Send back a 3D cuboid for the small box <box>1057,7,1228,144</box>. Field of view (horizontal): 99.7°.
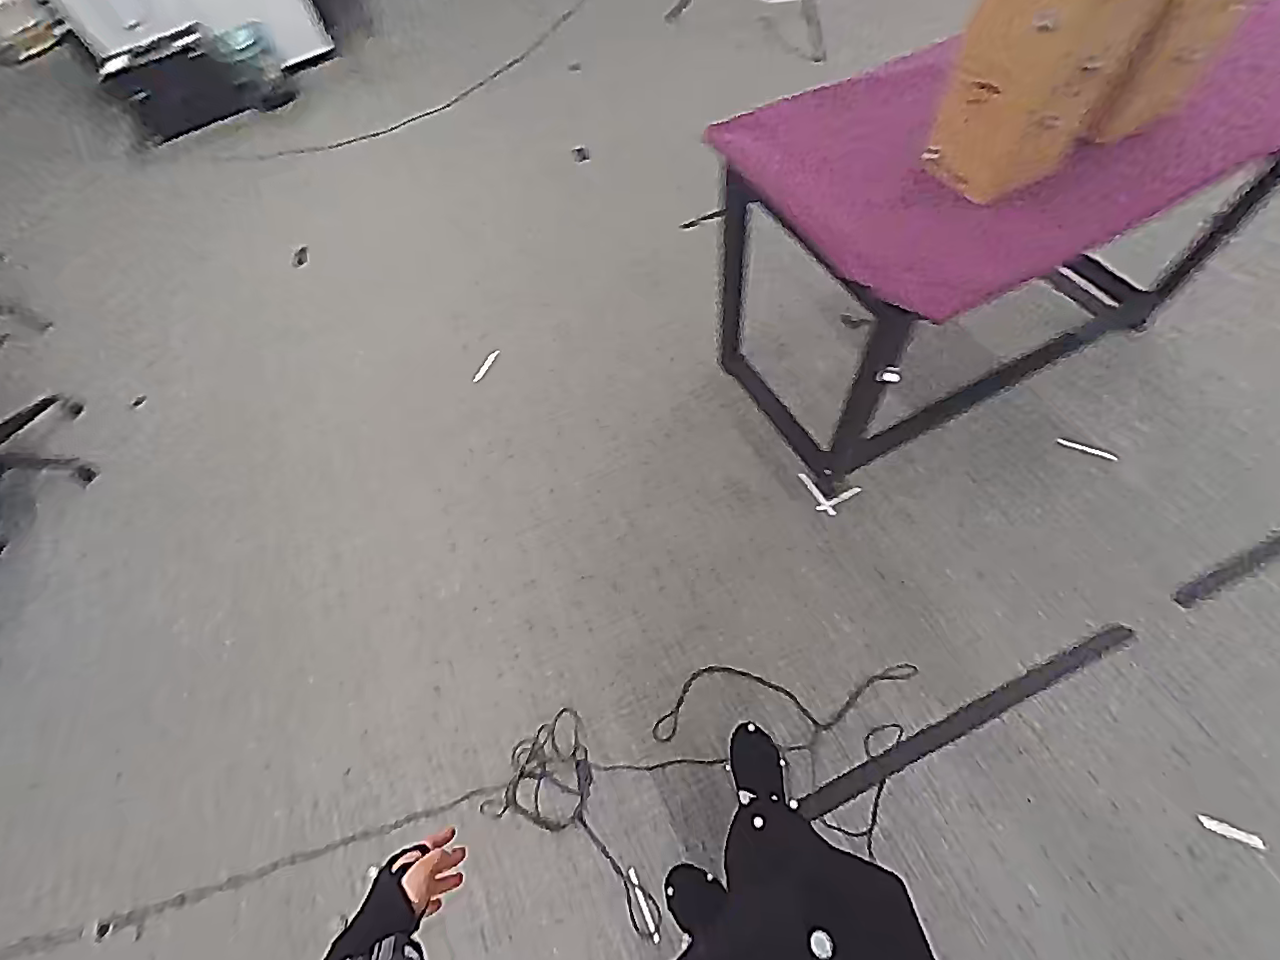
[{"bbox_3d":[0.883,-0.770,1.000,0.179,0.176,0.168,-27,62,-6],"label":"small box"}]

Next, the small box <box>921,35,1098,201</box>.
[{"bbox_3d":[0.634,-0.635,0.962,0.179,0.176,0.168,-27,63,-7],"label":"small box"}]
